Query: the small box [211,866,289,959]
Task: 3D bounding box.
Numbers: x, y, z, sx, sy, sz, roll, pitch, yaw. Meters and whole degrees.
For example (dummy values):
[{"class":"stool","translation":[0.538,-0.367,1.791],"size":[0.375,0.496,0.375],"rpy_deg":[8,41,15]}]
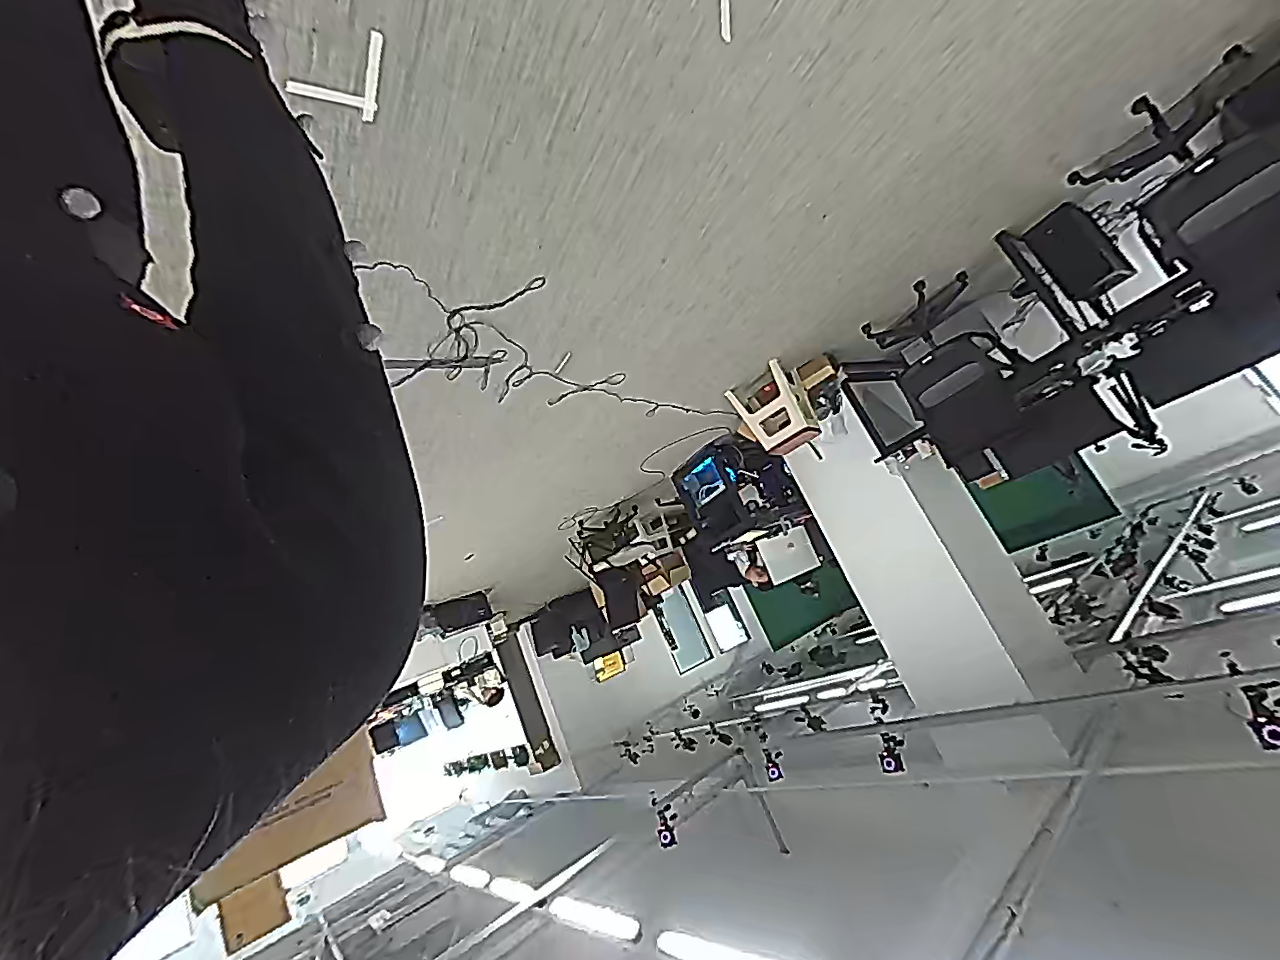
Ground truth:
[{"class":"small box","translation":[-1.267,1.392,1.760],"size":[0.179,0.176,0.168],"rpy_deg":[-12,161,-38]}]
